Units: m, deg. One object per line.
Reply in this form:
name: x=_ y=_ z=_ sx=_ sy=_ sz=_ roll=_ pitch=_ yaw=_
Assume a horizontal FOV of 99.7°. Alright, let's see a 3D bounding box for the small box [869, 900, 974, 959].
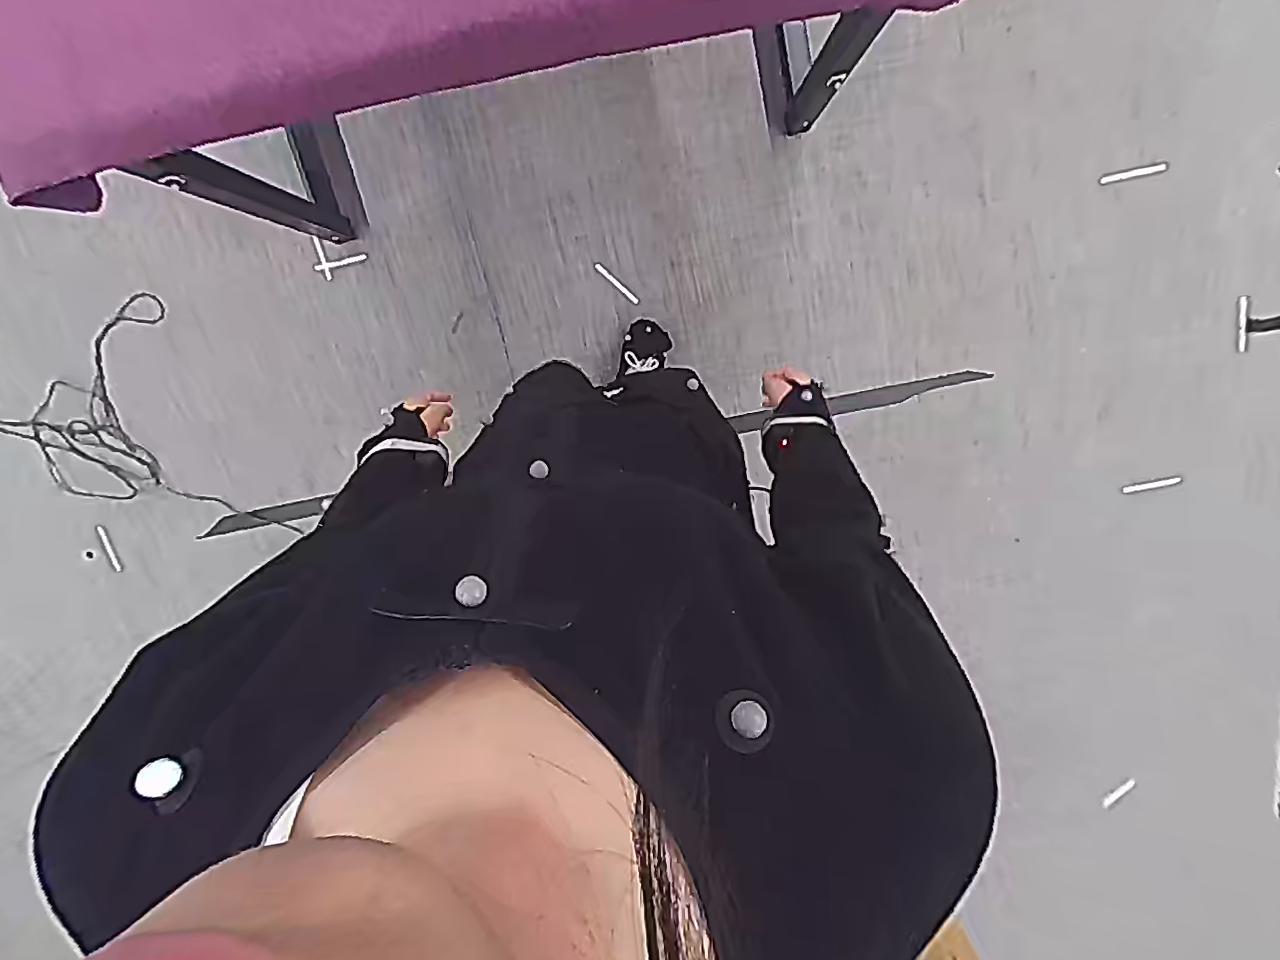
small box: x=0.697 y=1.170 z=1.302 sx=0.179 sy=0.176 sz=0.168 roll=37 pitch=102 yaw=-9
